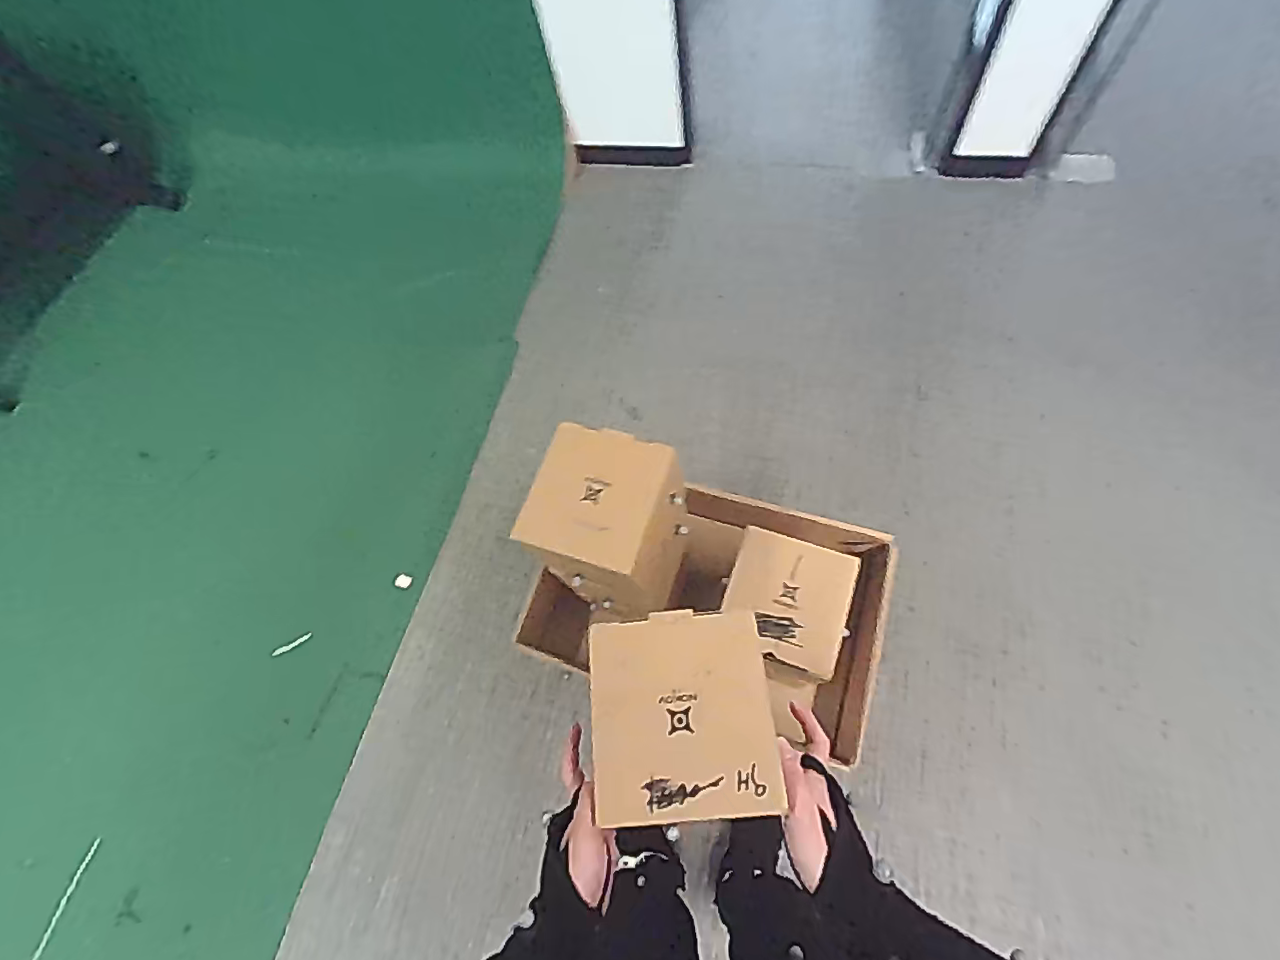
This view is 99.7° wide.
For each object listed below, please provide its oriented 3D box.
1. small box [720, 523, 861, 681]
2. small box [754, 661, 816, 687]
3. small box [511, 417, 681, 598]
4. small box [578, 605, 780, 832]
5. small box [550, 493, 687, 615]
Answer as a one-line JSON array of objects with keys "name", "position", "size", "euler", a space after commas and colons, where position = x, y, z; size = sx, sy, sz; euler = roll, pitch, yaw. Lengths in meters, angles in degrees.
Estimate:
[{"name": "small box", "position": [0.217, 0.192, 0.822], "size": [0.168, 0.176, 0.179], "euler": [17, 71, 16]}, {"name": "small box", "position": [0.241, 0.256, 0.971], "size": [0.168, 0.176, 0.179], "euler": [16, 71, 16]}, {"name": "small box", "position": [-0.047, 0.044, 0.748], "size": [0.168, 0.176, 0.179], "euler": [15, 70, 16]}, {"name": "small box", "position": [0.034, 0.243, 0.550], "size": [0.168, 0.176, 0.179], "euler": [-8, 61, 3]}, {"name": "small box", "position": [-0.024, 0.107, 0.897], "size": [0.168, 0.176, 0.179], "euler": [15, 70, 15]}]
